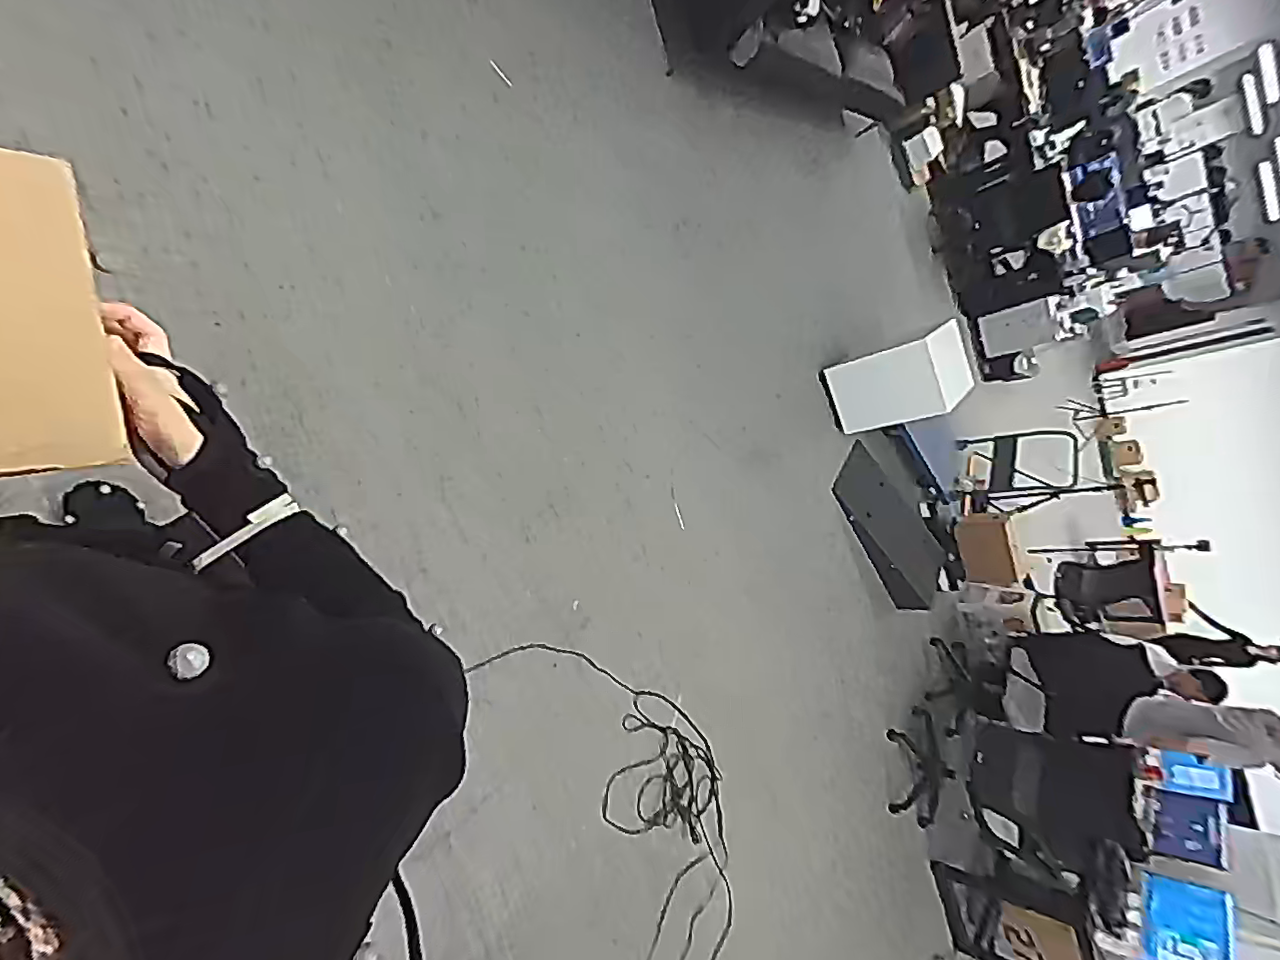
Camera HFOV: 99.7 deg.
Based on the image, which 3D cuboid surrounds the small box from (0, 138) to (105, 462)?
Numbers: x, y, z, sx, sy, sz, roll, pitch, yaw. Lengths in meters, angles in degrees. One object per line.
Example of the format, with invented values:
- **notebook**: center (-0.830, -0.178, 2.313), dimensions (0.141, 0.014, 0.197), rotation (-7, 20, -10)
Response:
- **small box**: center (-0.443, -0.095, 0.308), dimensions (0.168, 0.176, 0.179), rotation (-13, 105, -47)
